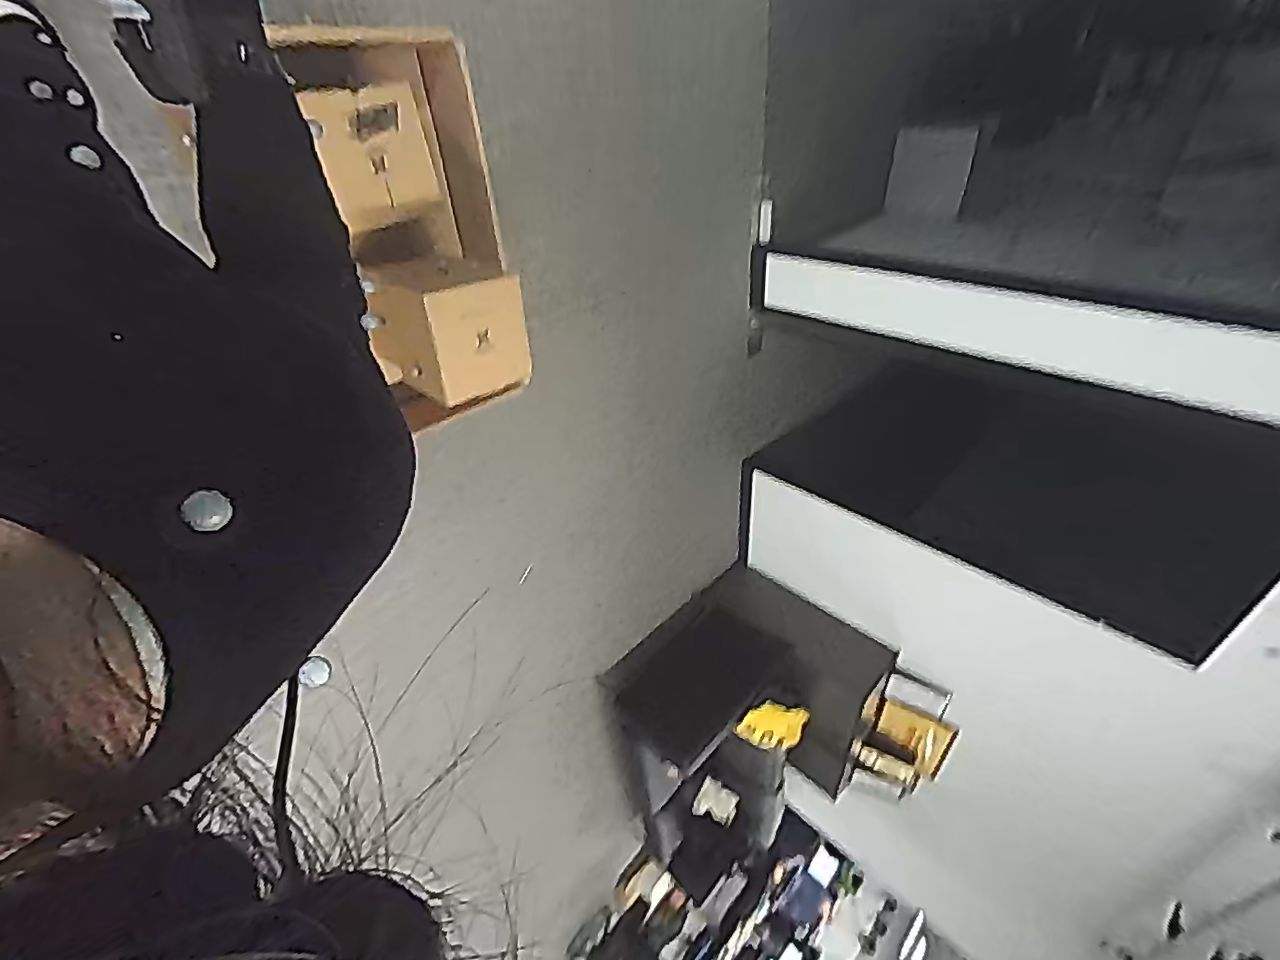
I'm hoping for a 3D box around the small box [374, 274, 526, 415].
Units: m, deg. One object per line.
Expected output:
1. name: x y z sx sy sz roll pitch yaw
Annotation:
1. small box: -0.314 -0.233 0.905 0.168 0.176 0.179 -28 131 -36
